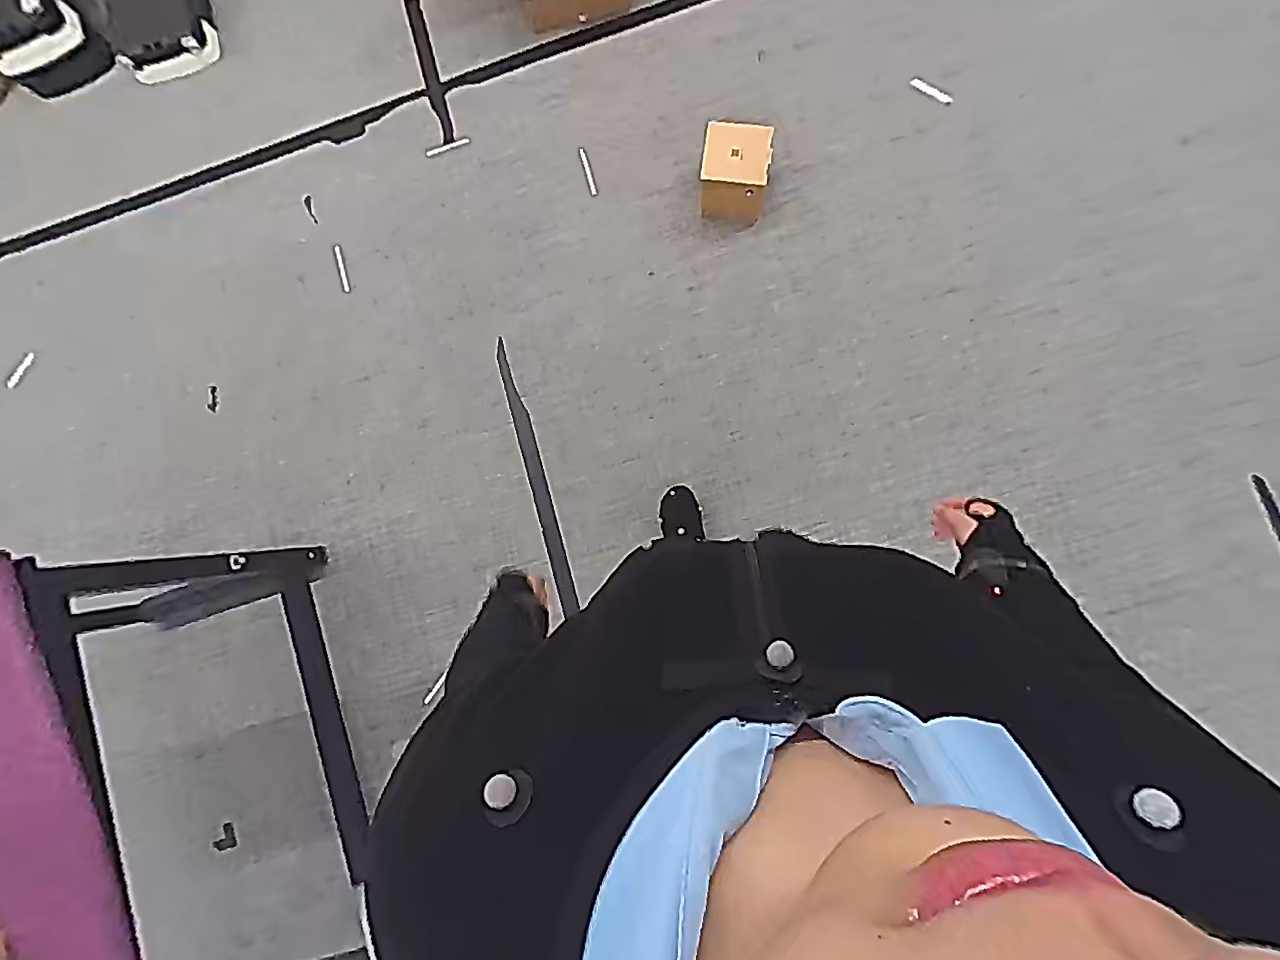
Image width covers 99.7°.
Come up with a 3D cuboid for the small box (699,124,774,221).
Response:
[{"bbox_3d":[0.259,-0.843,1.497,0.179,0.176,0.168,8,85,4],"label":"small box"}]
